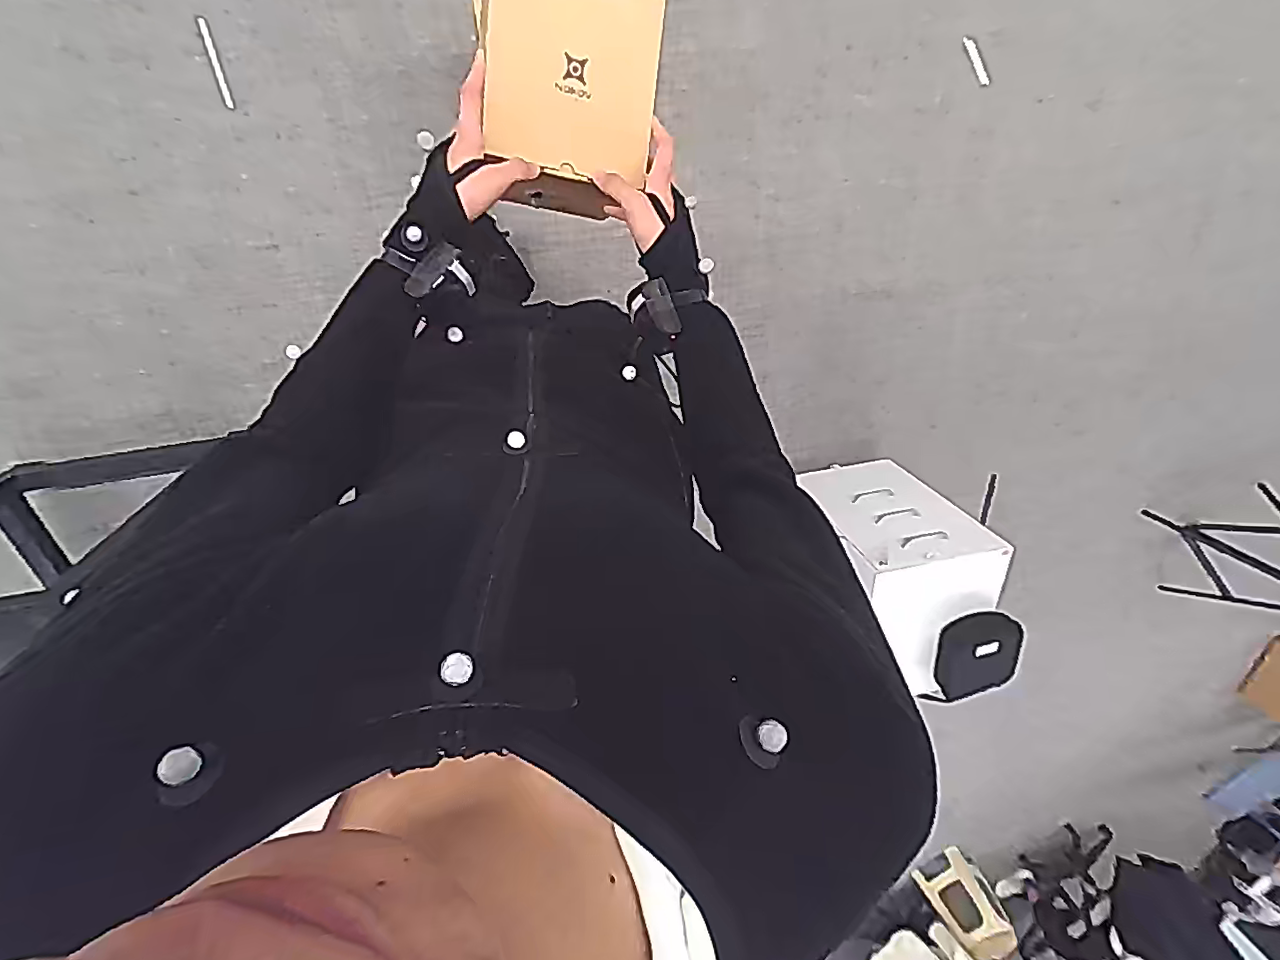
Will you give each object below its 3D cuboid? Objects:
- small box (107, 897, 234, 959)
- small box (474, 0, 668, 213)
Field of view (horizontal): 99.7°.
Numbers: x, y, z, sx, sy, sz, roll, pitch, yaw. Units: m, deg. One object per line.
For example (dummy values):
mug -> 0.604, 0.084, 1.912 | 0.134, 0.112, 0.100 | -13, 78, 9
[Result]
small box -> -1.018, 1.043, 1.162 | 0.179, 0.176, 0.168 | -10, 118, -8
small box -> -0.085, -0.405, 0.574 | 0.168, 0.176, 0.179 | 2, 106, -20
